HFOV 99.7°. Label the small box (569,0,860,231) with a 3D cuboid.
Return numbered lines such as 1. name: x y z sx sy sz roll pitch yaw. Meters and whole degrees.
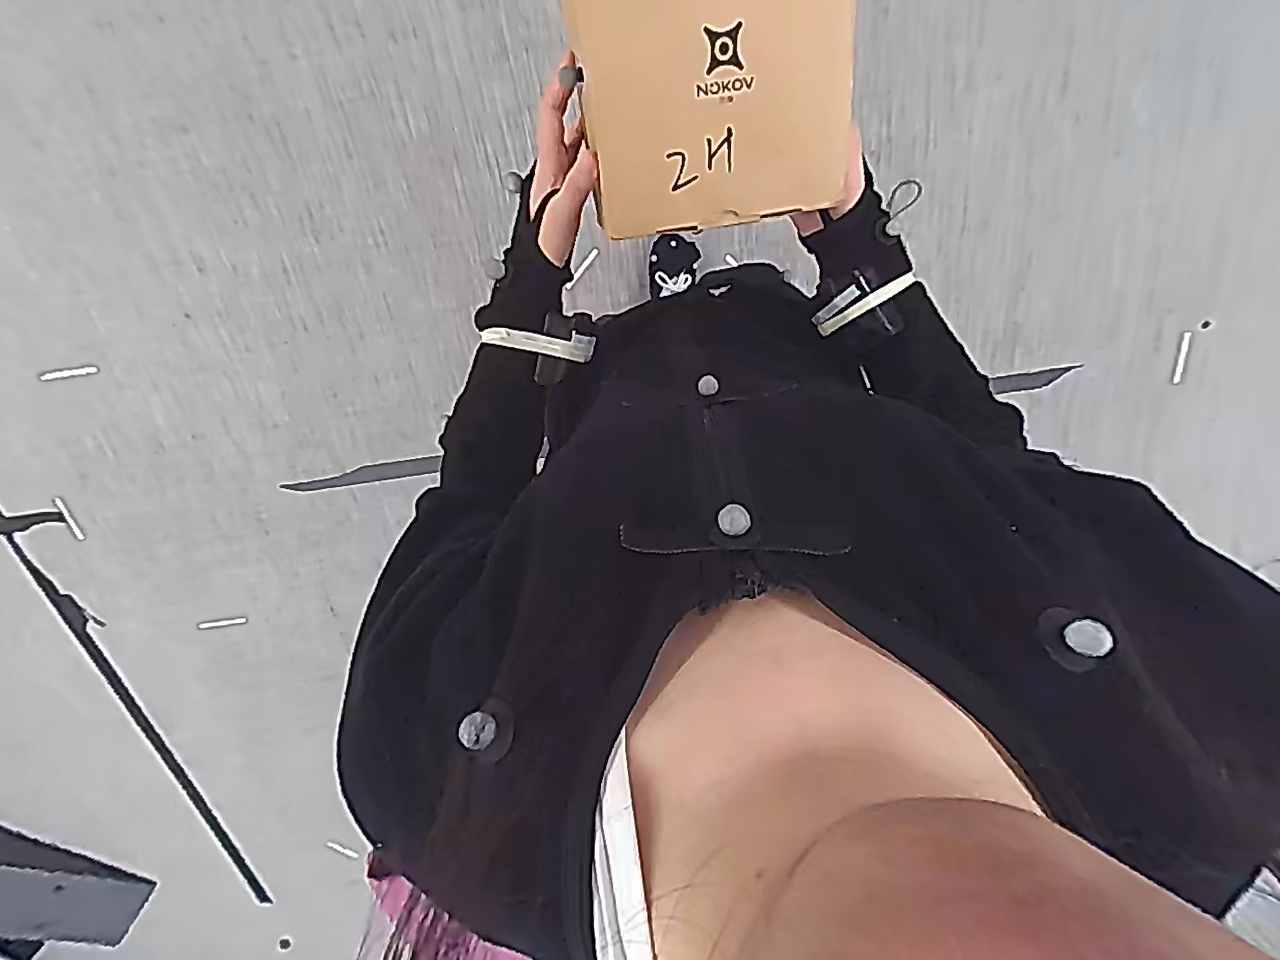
1. small box: 0.042 -0.292 0.397 0.168 0.176 0.179 -10 120 -2
